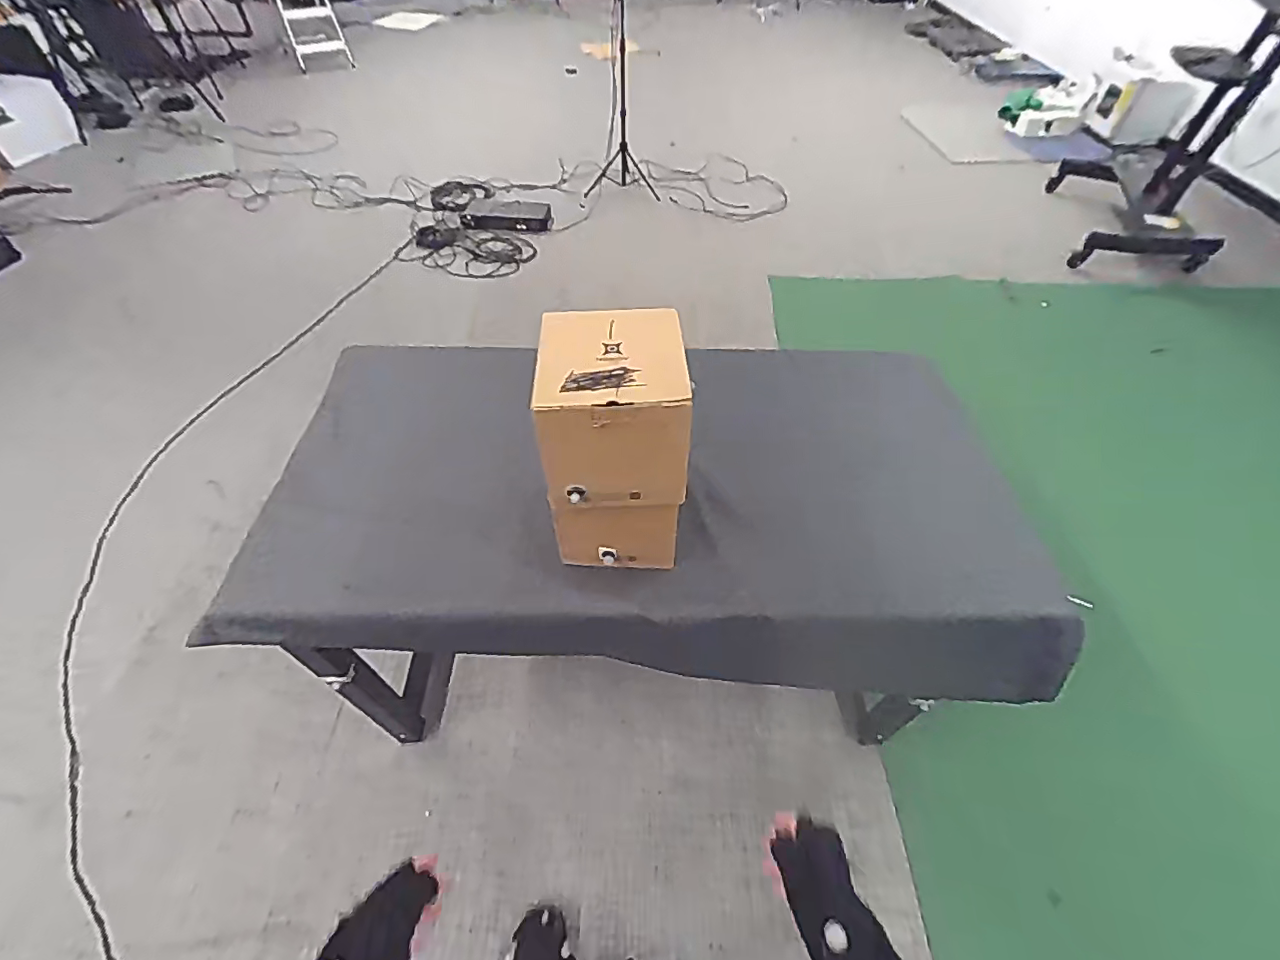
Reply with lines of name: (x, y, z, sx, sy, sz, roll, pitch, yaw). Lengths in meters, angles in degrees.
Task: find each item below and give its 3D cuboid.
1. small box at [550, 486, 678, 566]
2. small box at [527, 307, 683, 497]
small box: (-0.032, 0.008, 0.800, 0.168, 0.176, 0.179, 0, 51, 1)
small box: (-0.036, -0.090, 0.668, 0.168, 0.176, 0.179, -2, 48, -1)
